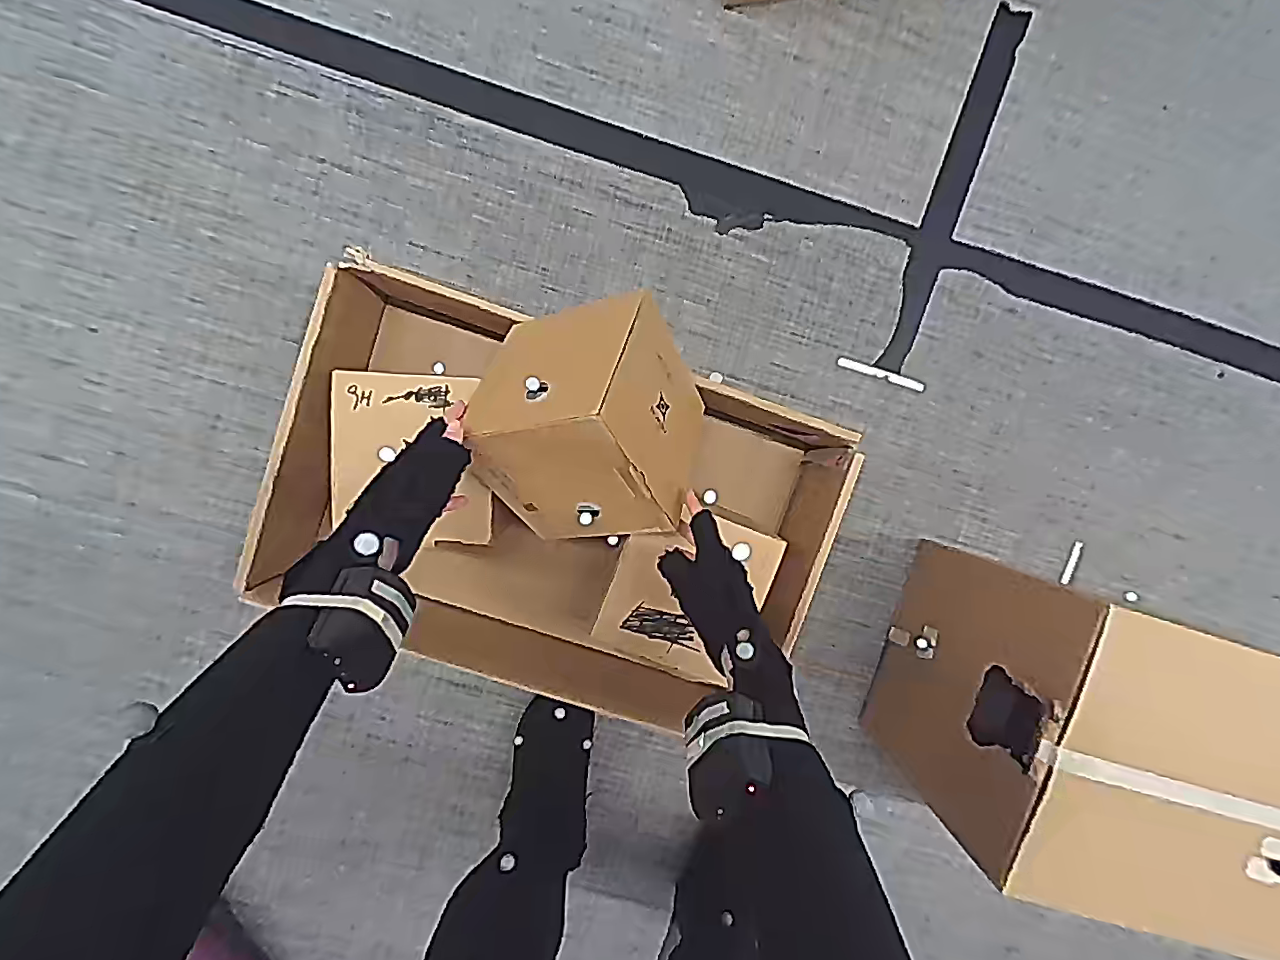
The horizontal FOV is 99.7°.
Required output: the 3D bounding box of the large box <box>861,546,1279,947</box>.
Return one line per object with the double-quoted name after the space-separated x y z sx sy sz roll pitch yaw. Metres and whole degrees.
0.576 0.303 0.701 0.408 0.320 0.320 16 94 -5 "large box"
